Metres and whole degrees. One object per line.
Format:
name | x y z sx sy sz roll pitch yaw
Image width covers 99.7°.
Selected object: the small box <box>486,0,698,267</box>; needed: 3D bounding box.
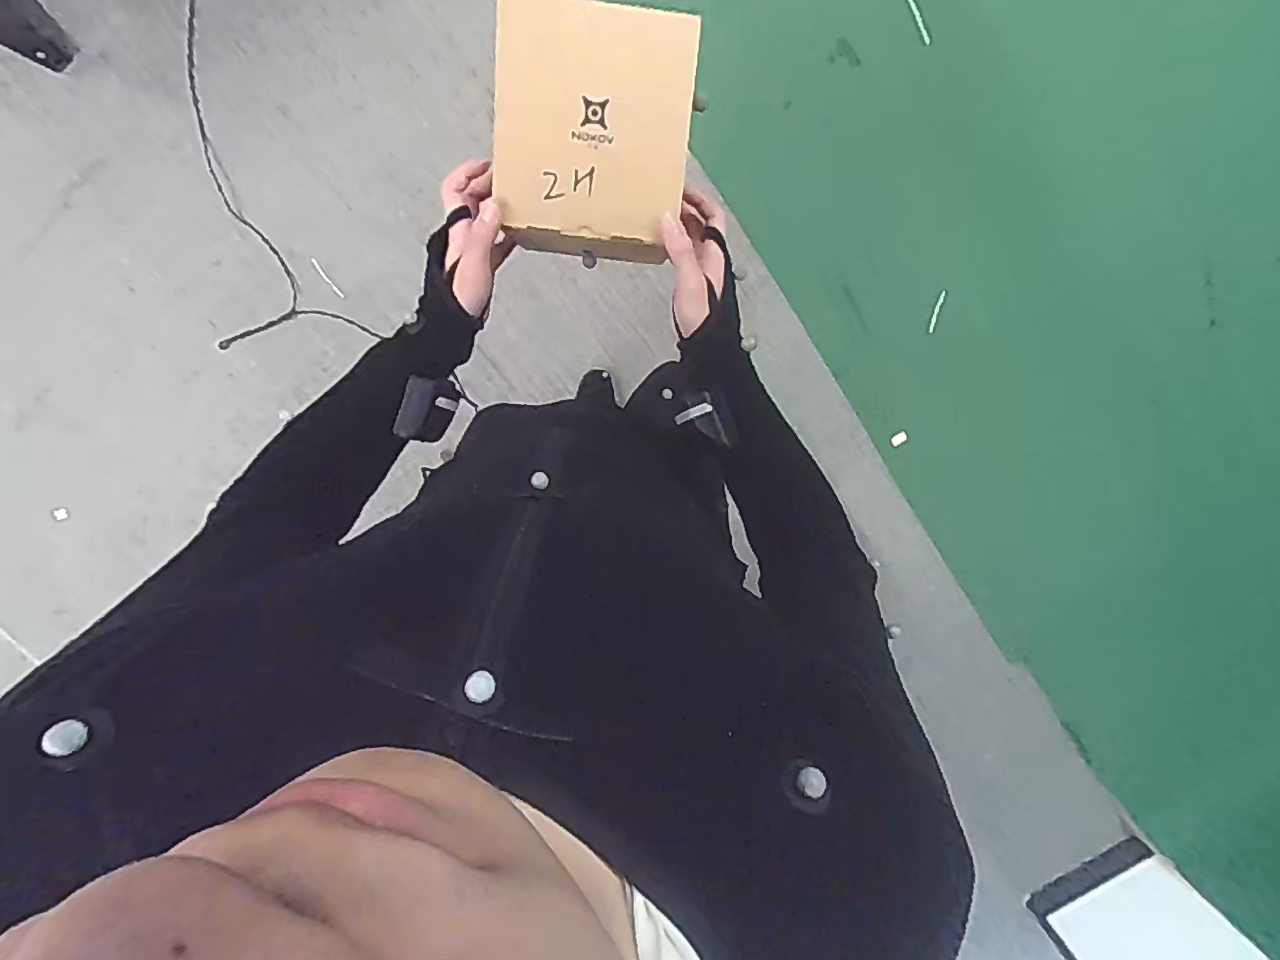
small box | -0.047 -0.319 0.528 0.168 0.176 0.179 5 105 -4
